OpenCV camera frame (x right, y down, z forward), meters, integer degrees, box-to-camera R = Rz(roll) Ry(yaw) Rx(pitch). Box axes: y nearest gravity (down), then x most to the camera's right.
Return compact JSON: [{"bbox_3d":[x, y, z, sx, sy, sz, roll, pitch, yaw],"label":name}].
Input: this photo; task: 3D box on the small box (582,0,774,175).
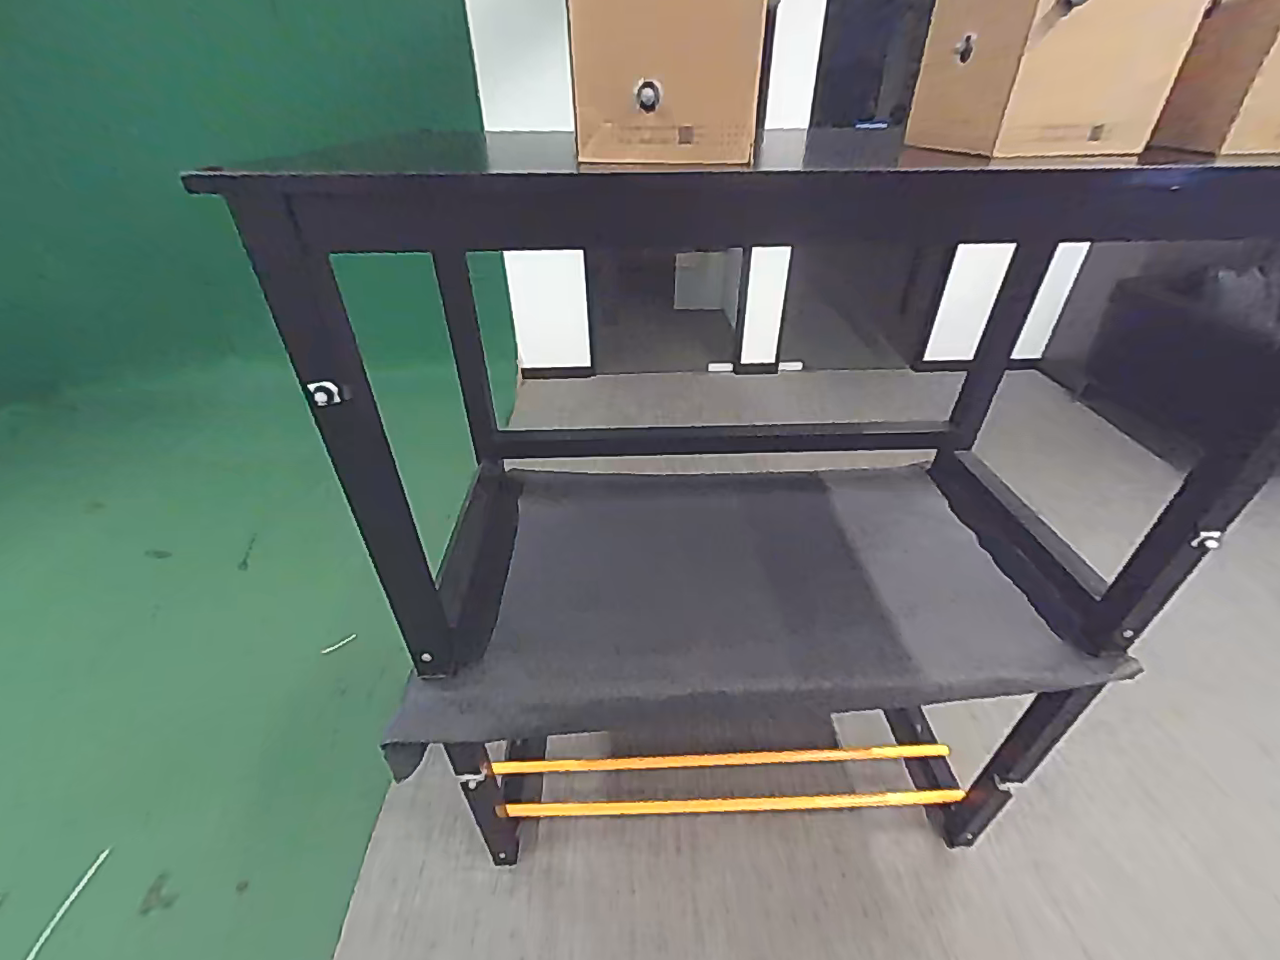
[{"bbox_3d":[0.037,-0.411,0.537,0.168,0.176,0.179,4,36,5],"label":"small box"}]
